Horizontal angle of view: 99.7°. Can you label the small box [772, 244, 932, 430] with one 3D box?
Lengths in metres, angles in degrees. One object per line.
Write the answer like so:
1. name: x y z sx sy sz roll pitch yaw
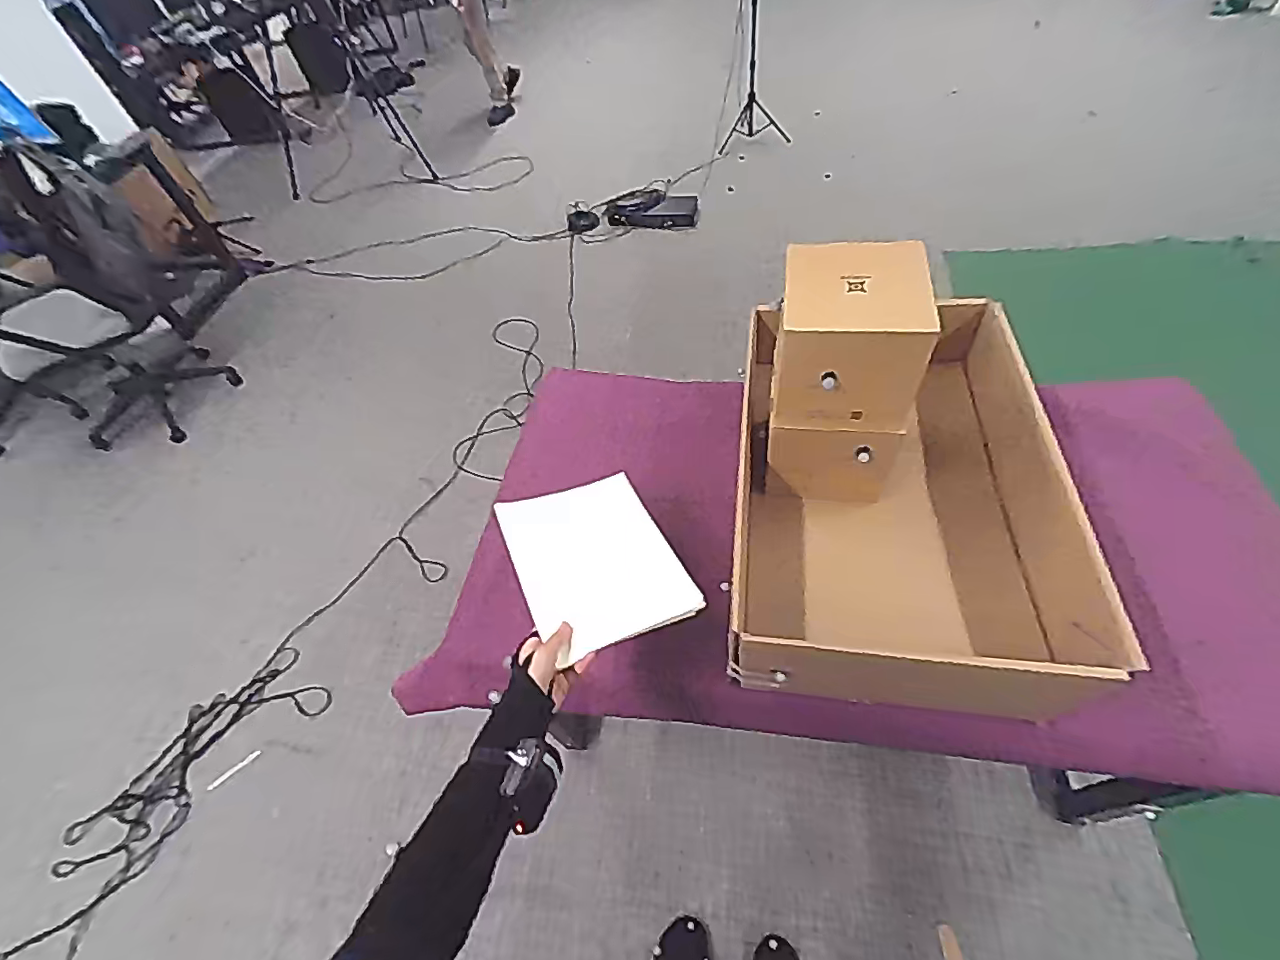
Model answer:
1. small box: 0.263 -0.182 0.708 0.168 0.176 0.179 3 54 12
